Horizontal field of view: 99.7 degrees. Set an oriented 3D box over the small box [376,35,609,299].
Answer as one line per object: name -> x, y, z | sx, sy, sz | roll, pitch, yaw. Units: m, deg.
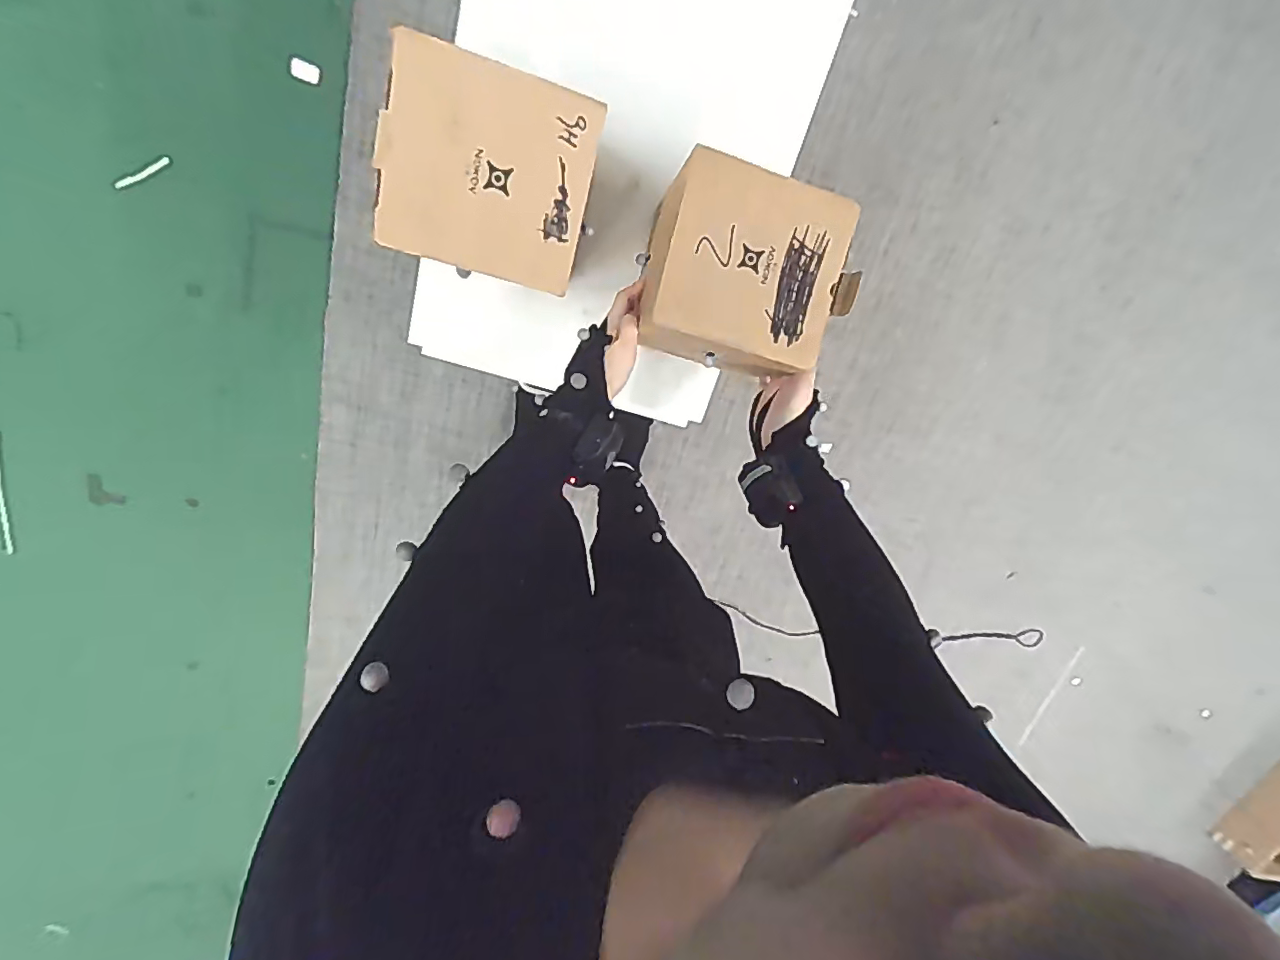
small box -> -0.141, -0.293, 0.547 | 0.179, 0.176, 0.168 | 12, 110, -13
